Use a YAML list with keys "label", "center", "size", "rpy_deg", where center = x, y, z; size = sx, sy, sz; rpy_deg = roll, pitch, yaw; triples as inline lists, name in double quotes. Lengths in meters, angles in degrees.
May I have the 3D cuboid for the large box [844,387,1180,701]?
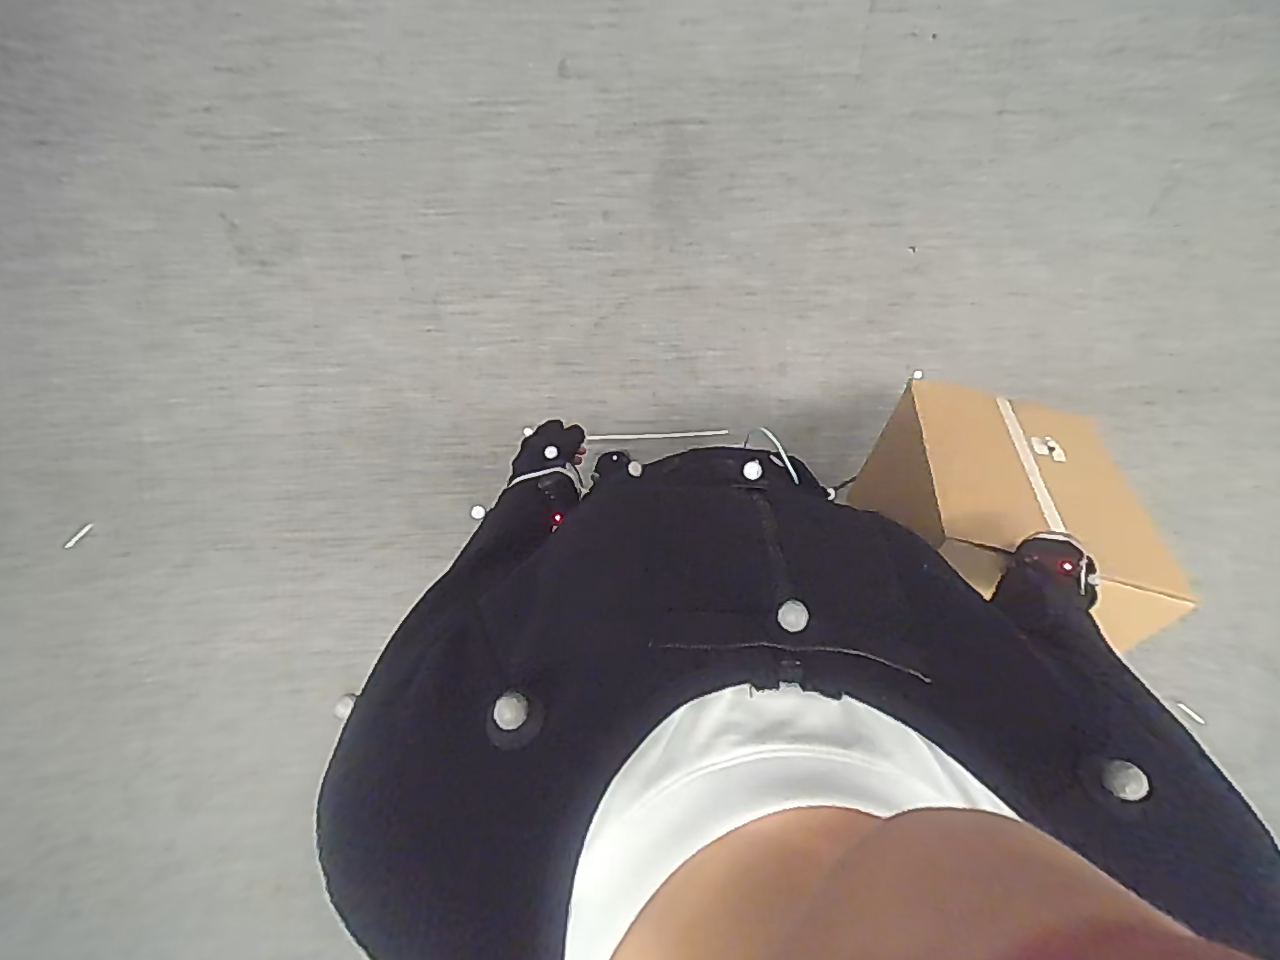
- label: "large box"
  center: [0.569, 0.099, 0.944]
  size: [0.320, 0.408, 0.320]
  rpy_deg: [16, 132, 5]
